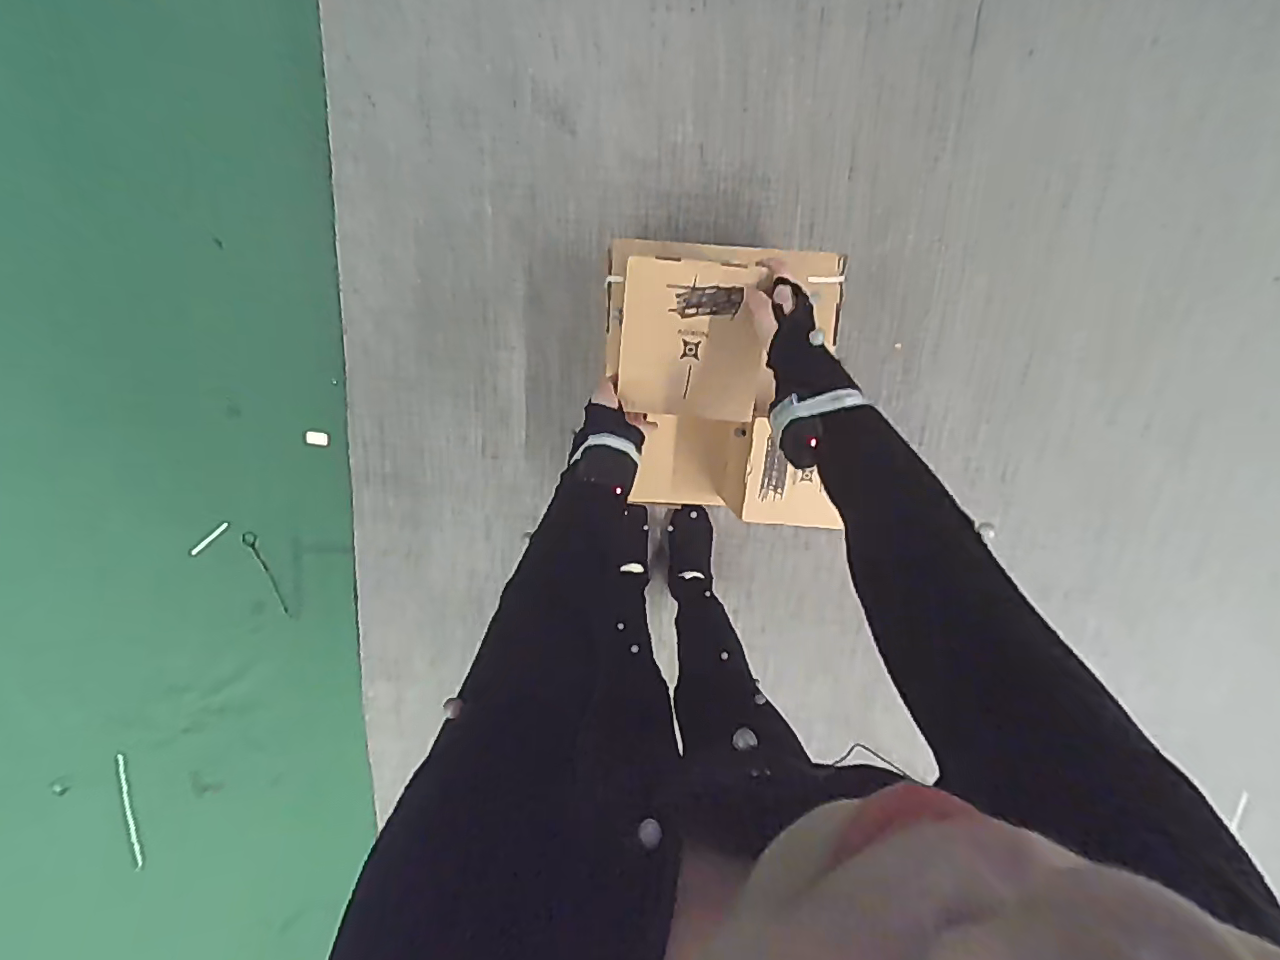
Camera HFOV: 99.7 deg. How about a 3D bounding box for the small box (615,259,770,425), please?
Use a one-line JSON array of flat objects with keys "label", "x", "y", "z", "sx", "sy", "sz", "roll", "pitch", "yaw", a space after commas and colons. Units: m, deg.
[{"label": "small box", "x": 0.056, "y": -0.179, "z": 0.696, "sx": 0.168, "sy": 0.176, "sz": 0.179, "roll": 4, "pitch": 109, "yaw": -2}]
